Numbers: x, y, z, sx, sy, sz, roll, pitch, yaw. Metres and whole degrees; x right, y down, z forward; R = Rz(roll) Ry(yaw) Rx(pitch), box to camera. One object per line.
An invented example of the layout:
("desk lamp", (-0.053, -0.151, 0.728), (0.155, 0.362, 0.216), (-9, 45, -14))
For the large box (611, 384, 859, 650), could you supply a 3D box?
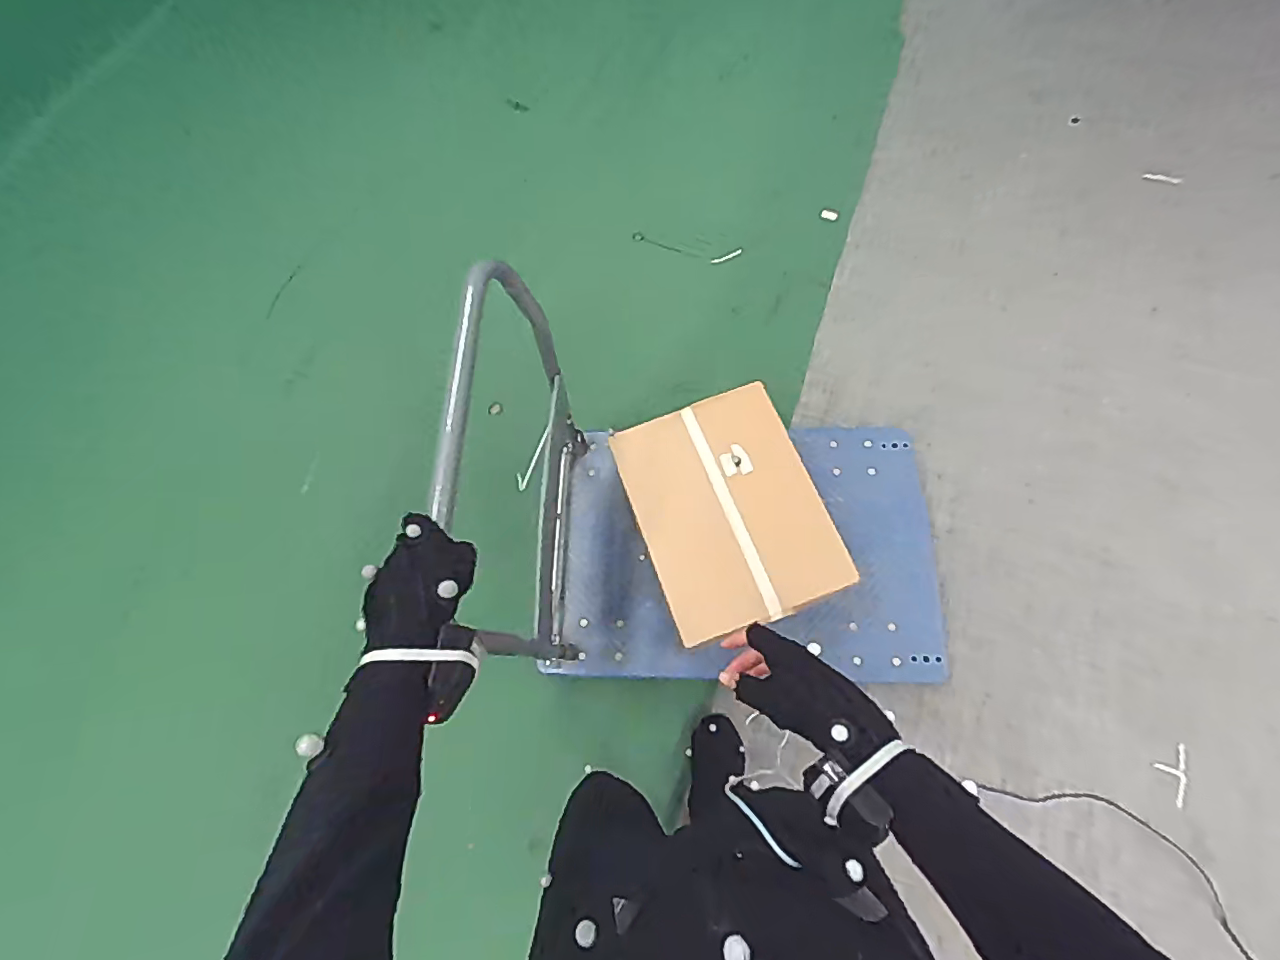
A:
("large box", (0.168, 0.090, 1.091), (0.320, 0.320, 0.408), (-20, 69, -3))
